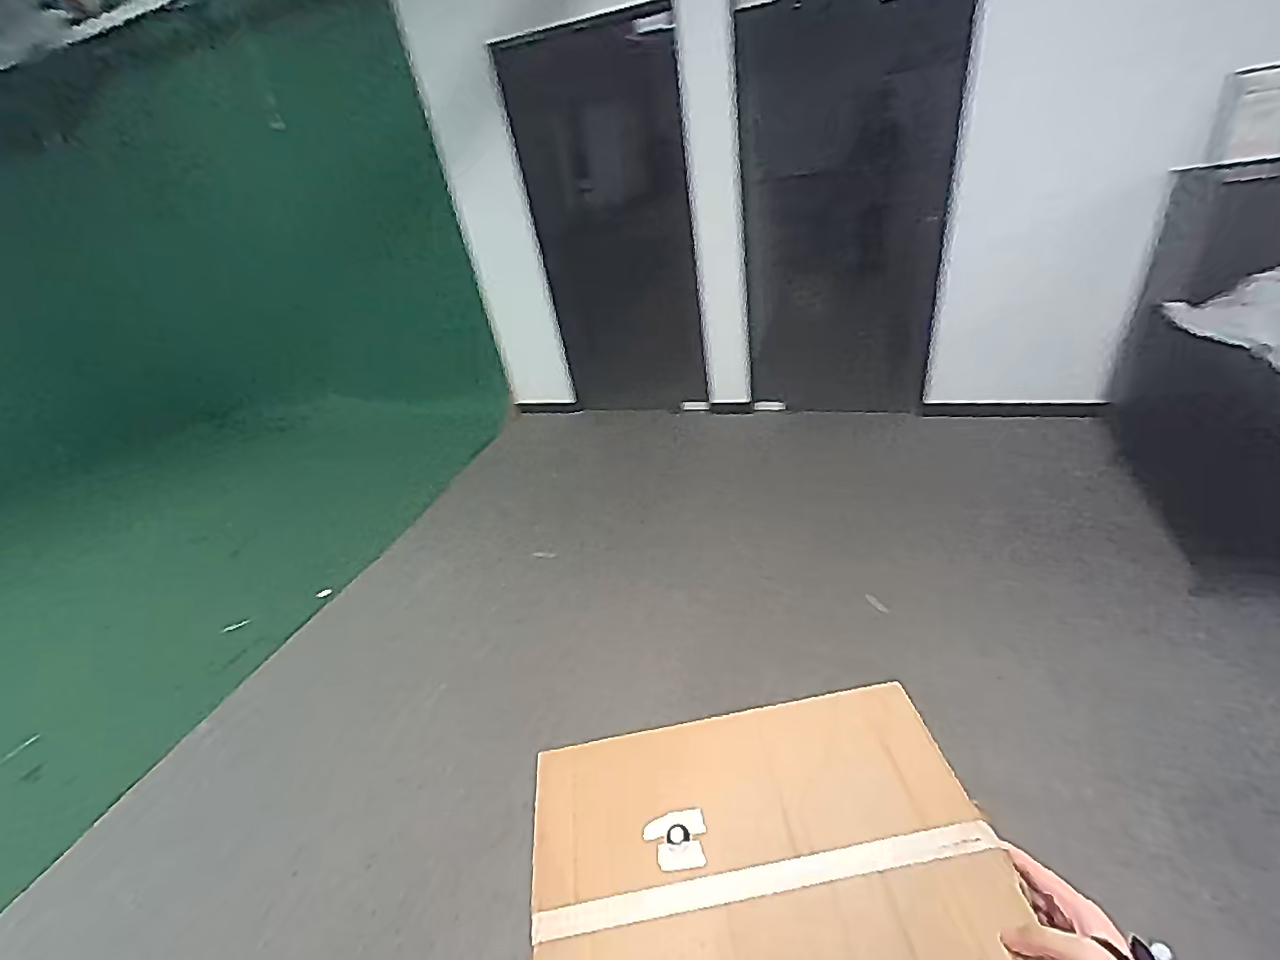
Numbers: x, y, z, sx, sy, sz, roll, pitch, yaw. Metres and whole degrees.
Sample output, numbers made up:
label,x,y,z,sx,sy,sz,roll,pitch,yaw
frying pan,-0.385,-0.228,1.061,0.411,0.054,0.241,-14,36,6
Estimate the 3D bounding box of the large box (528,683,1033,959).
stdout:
label,x,y,z,sx,sy,sz,roll,pitch,yaw
large box,0.121,0.475,0.569,0.408,0.320,0.320,-13,36,-1
